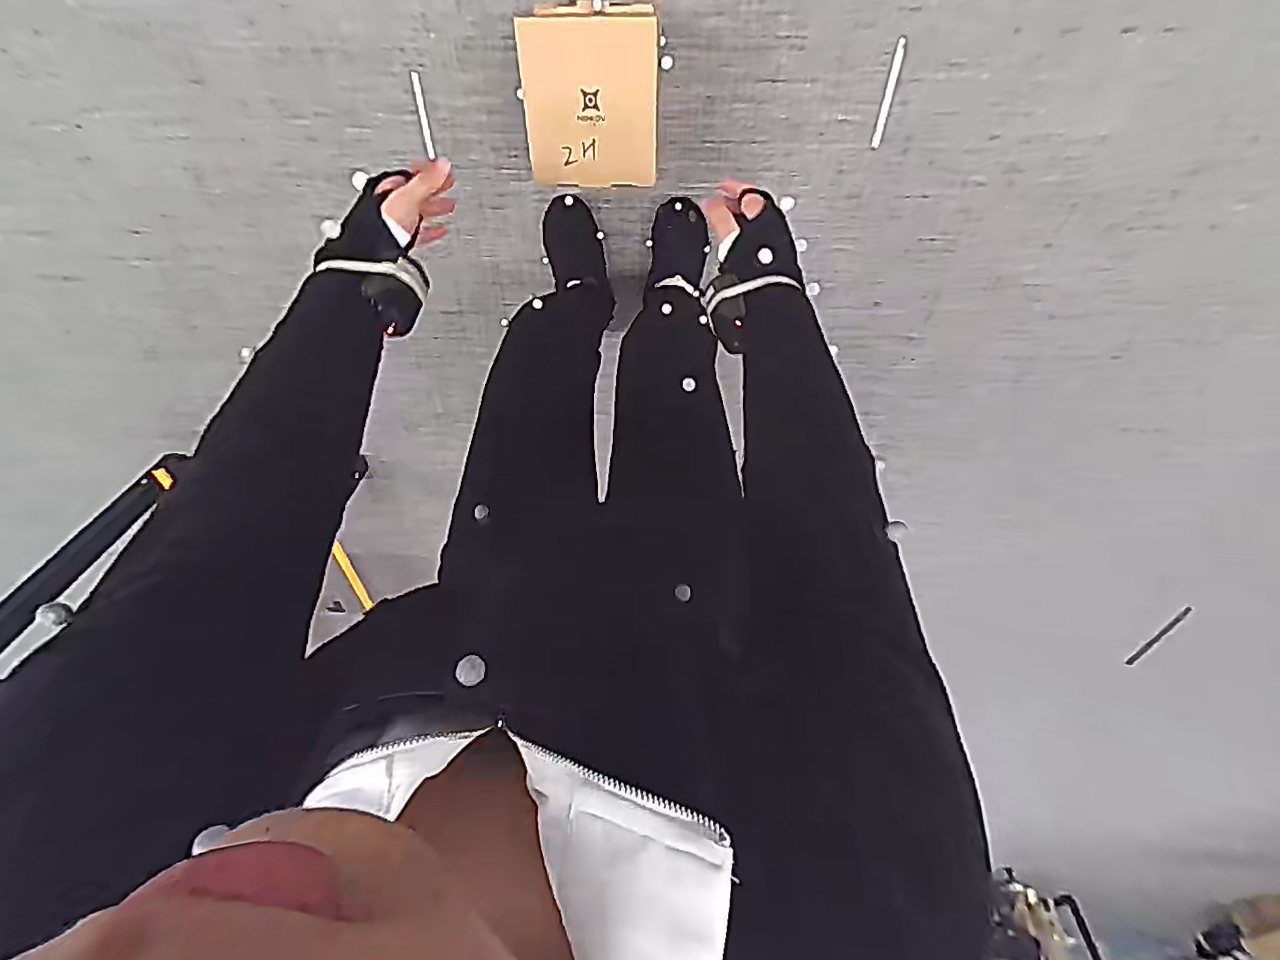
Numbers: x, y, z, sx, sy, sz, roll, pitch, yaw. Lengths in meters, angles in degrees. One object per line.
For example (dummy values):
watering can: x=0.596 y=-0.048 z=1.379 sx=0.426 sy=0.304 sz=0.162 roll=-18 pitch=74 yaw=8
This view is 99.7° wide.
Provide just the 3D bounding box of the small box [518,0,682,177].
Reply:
small box: x=-0.038 y=-0.475 z=0.639 sx=0.168 sy=0.176 sz=0.179 roll=2 pitch=132 yaw=2
